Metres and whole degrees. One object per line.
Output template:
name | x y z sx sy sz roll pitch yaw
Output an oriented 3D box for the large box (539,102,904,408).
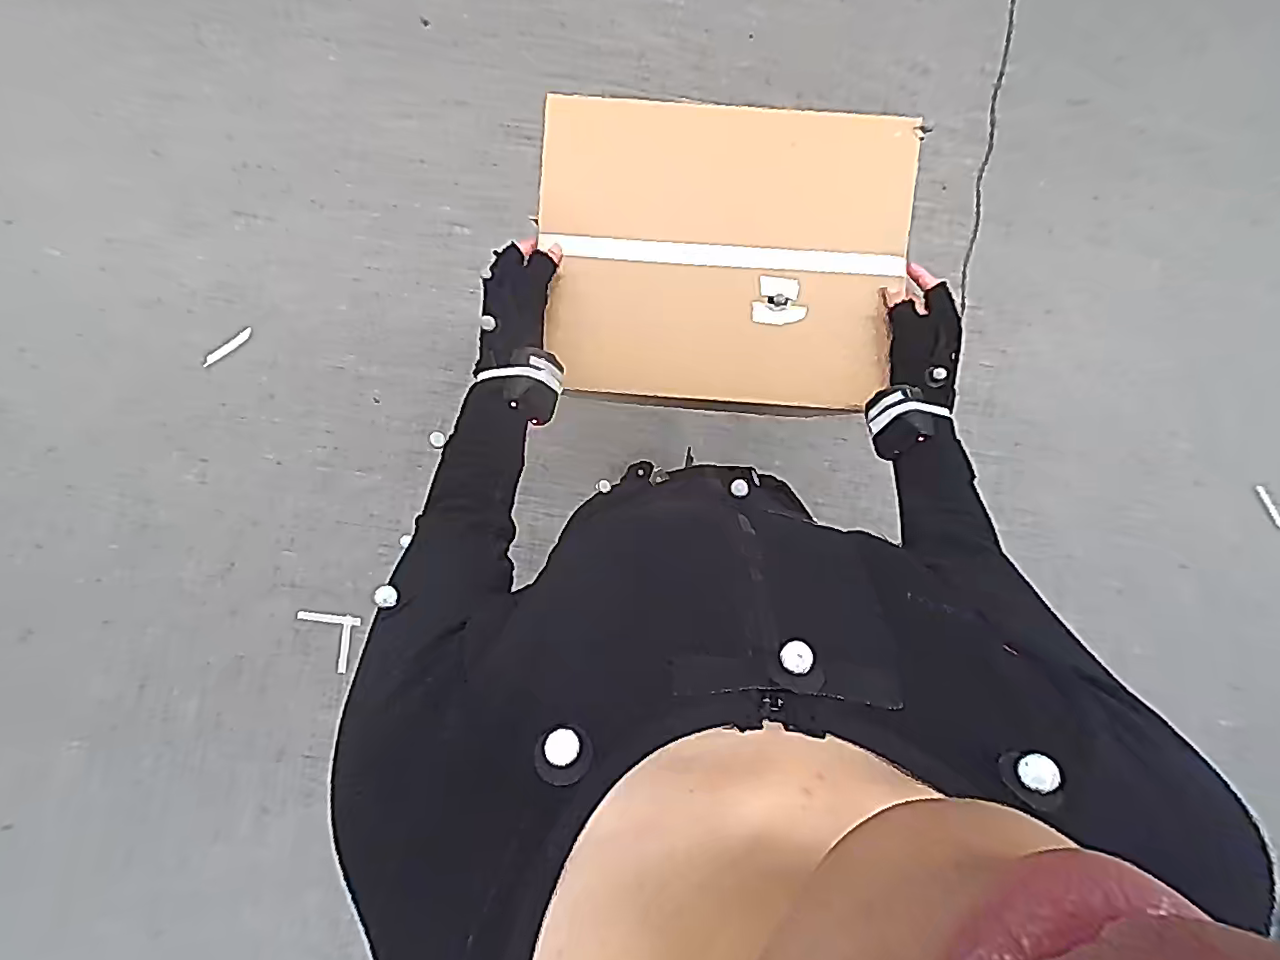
large box | 0.087 -0.270 0.757 0.408 0.320 0.320 3 96 0
